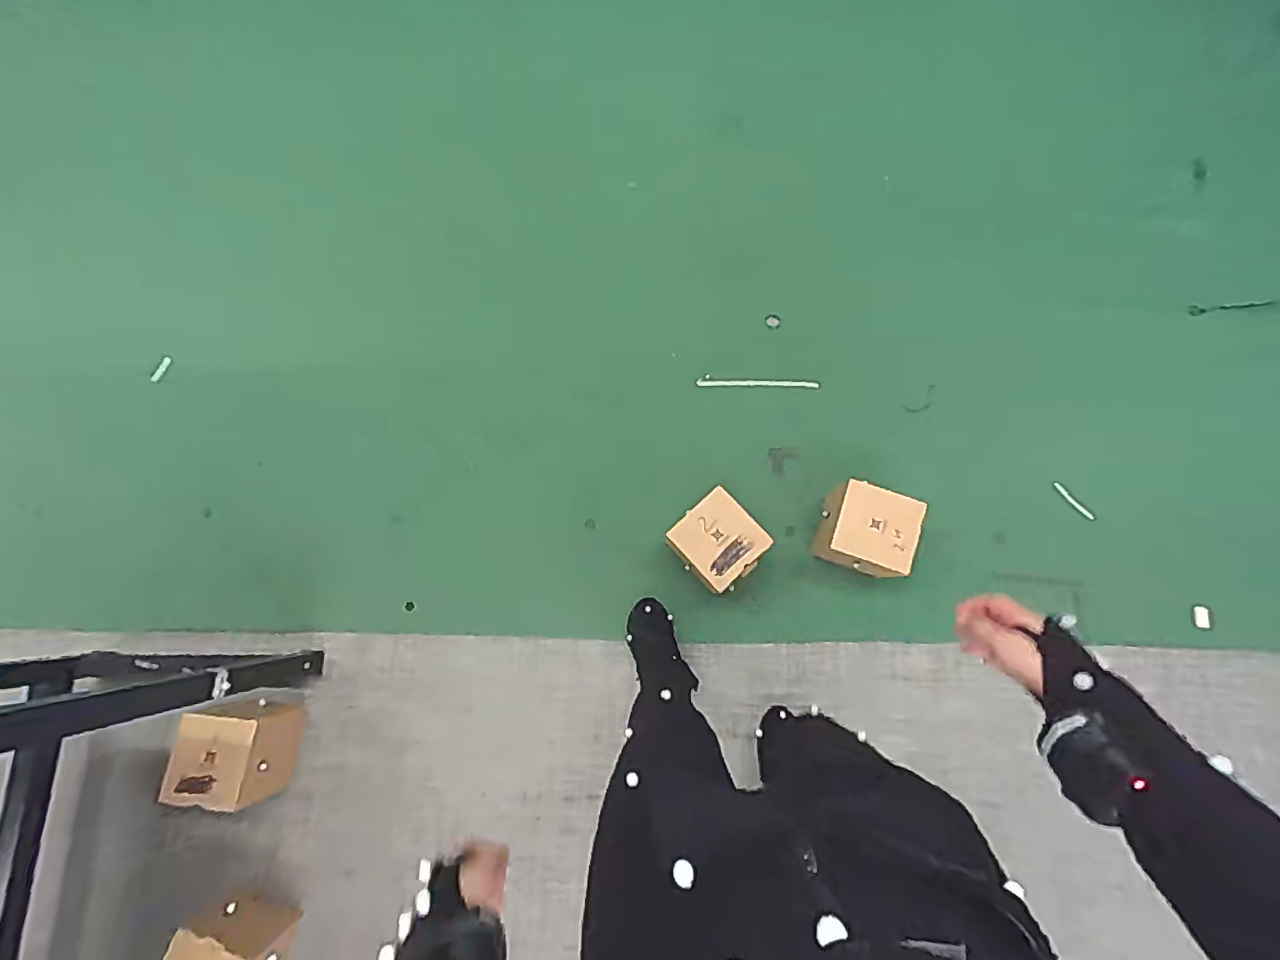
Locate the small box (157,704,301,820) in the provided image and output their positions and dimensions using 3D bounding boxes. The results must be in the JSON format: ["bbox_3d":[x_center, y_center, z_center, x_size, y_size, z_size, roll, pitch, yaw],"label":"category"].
[{"bbox_3d":[-0.882,0.605,1.180,0.168,0.176,0.179,6,77,2],"label":"small box"}]

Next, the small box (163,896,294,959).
[{"bbox_3d":[-0.850,1.002,1.097,0.168,0.176,0.179,20,81,6],"label":"small box"}]

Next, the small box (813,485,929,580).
[{"bbox_3d":[0.521,0.128,1.244,0.179,0.176,0.168,20,80,5],"label":"small box"}]
